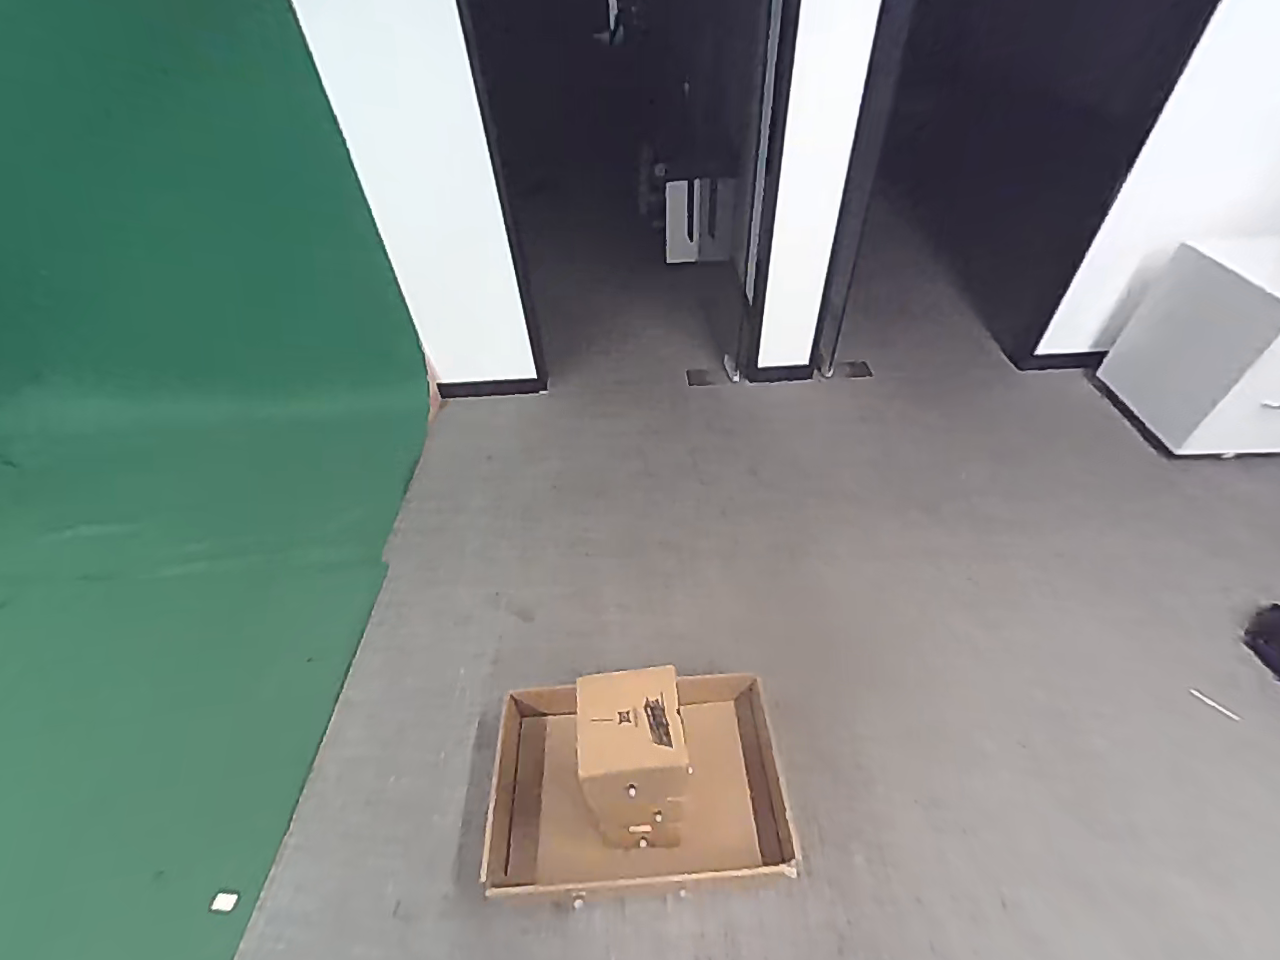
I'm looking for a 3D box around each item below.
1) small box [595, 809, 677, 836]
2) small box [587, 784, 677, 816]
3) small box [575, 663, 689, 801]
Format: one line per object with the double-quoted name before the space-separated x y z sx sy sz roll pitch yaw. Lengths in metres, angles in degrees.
"small box" -0.004 0.672 1.193 0.168 0.176 0.179 -2 45 2
"small box" -0.012 0.557 1.080 0.168 0.176 0.179 -2 44 1
"small box" -0.018 0.447 0.958 0.179 0.176 0.168 -7 46 -5
